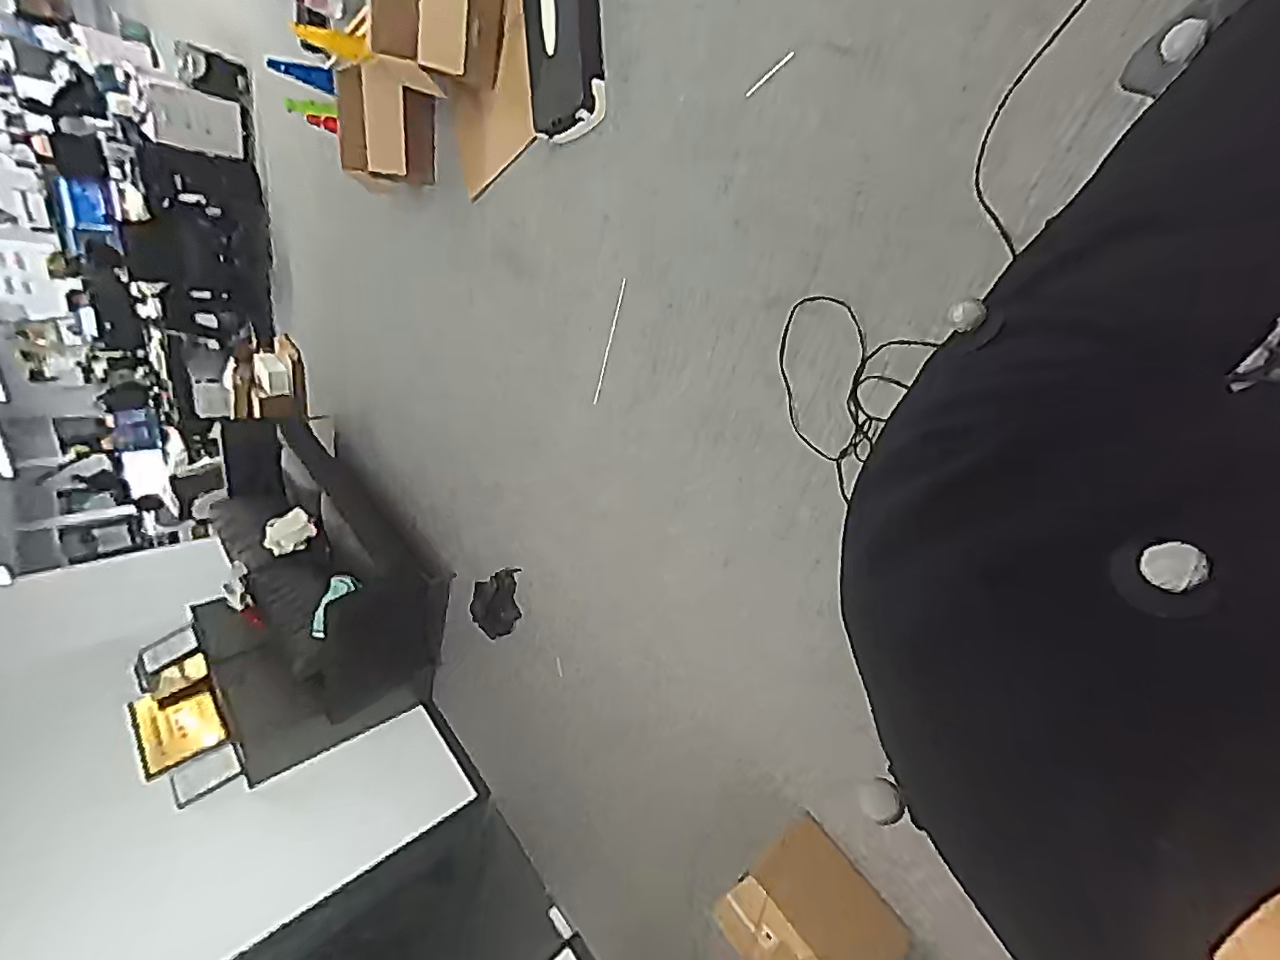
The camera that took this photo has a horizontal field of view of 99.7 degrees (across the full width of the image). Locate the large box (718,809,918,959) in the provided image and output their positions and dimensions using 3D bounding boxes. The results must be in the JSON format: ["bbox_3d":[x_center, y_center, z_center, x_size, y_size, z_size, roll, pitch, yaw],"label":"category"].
[{"bbox_3d":[0.522,1.310,1.616,0.408,0.320,0.320,44,128,30],"label":"large box"}]
